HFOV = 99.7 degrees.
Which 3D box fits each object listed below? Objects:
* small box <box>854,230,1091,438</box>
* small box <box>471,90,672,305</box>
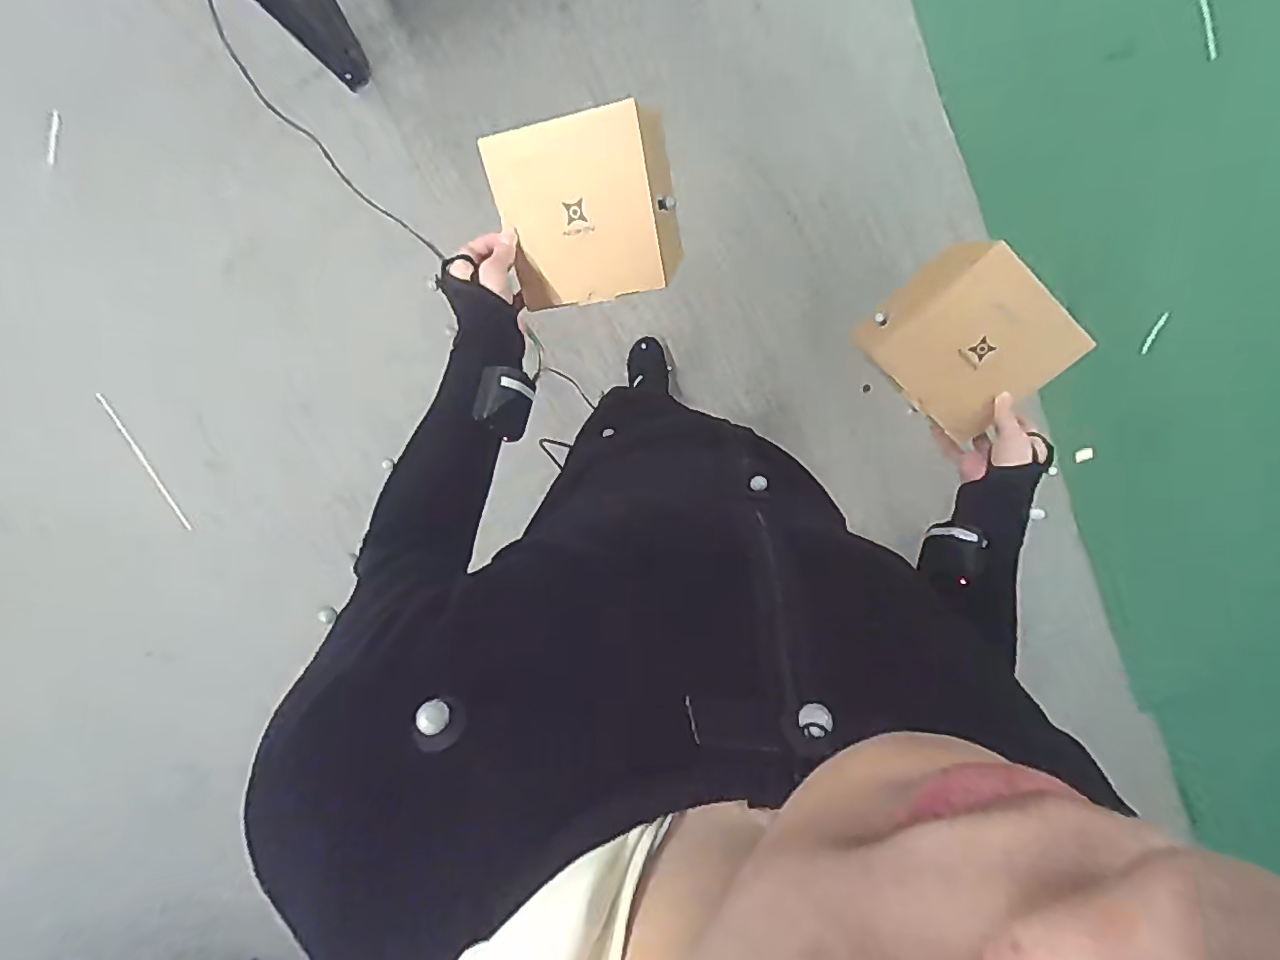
[{"bbox_3d":[0.397,-0.186,0.689,0.168,0.176,0.179,42,113,-7],"label":"small box"},{"bbox_3d":[-0.063,-0.322,0.627,0.168,0.176,0.179,-6,121,14],"label":"small box"}]
